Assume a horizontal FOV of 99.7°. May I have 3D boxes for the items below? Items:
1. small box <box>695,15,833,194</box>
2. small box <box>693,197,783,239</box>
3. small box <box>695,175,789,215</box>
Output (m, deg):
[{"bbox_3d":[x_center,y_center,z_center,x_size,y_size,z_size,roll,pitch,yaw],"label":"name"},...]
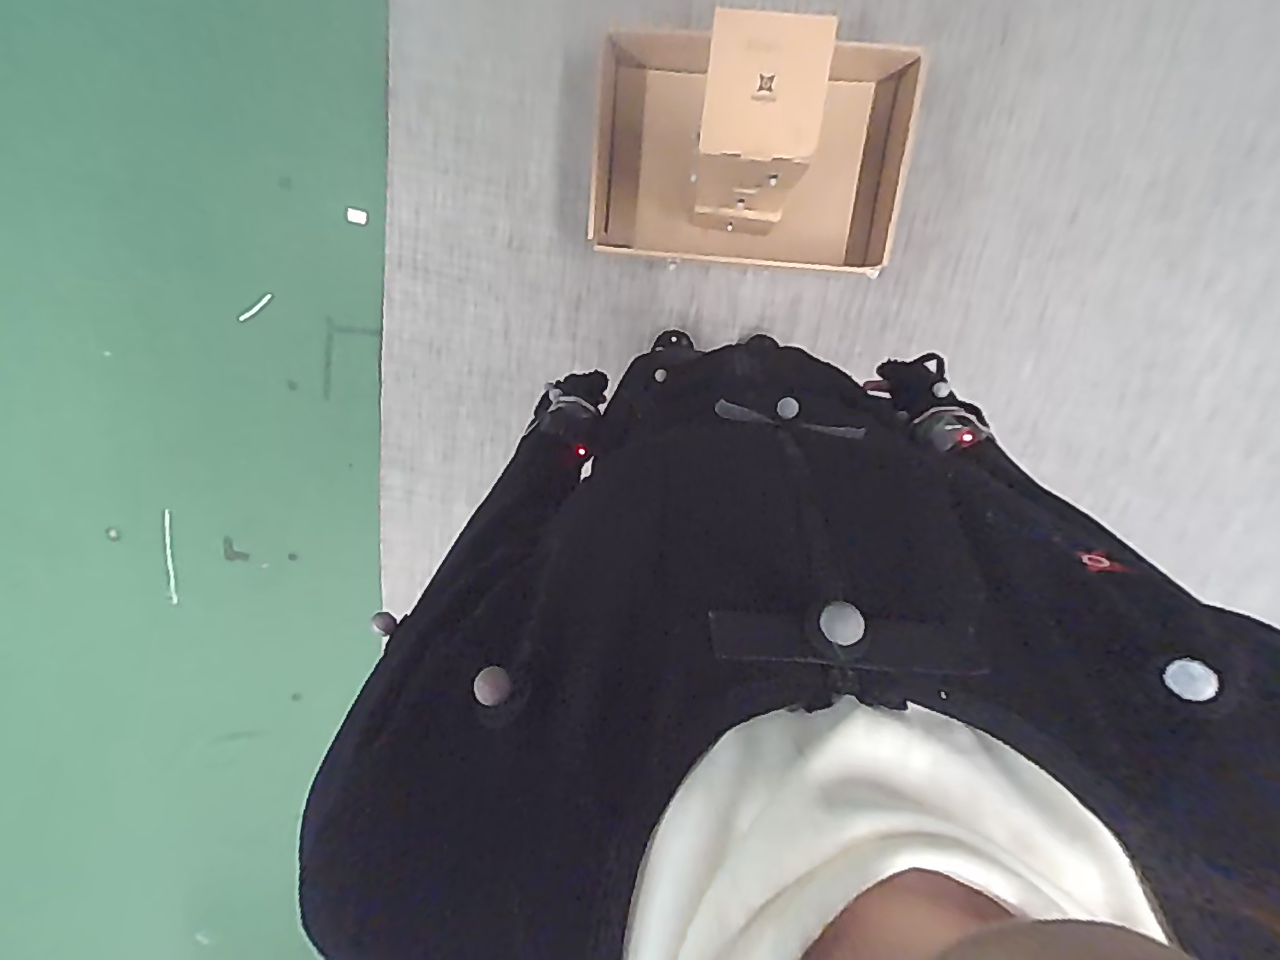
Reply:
[{"bbox_3d":[0.177,-0.555,0.825,0.168,0.176,0.179,7,104,3],"label":"small box"},{"bbox_3d":[0.213,-0.625,1.158,0.179,0.176,0.168,10,104,4],"label":"small box"},{"bbox_3d":[0.194,-0.602,1.000,0.168,0.176,0.179,5,104,5],"label":"small box"}]
